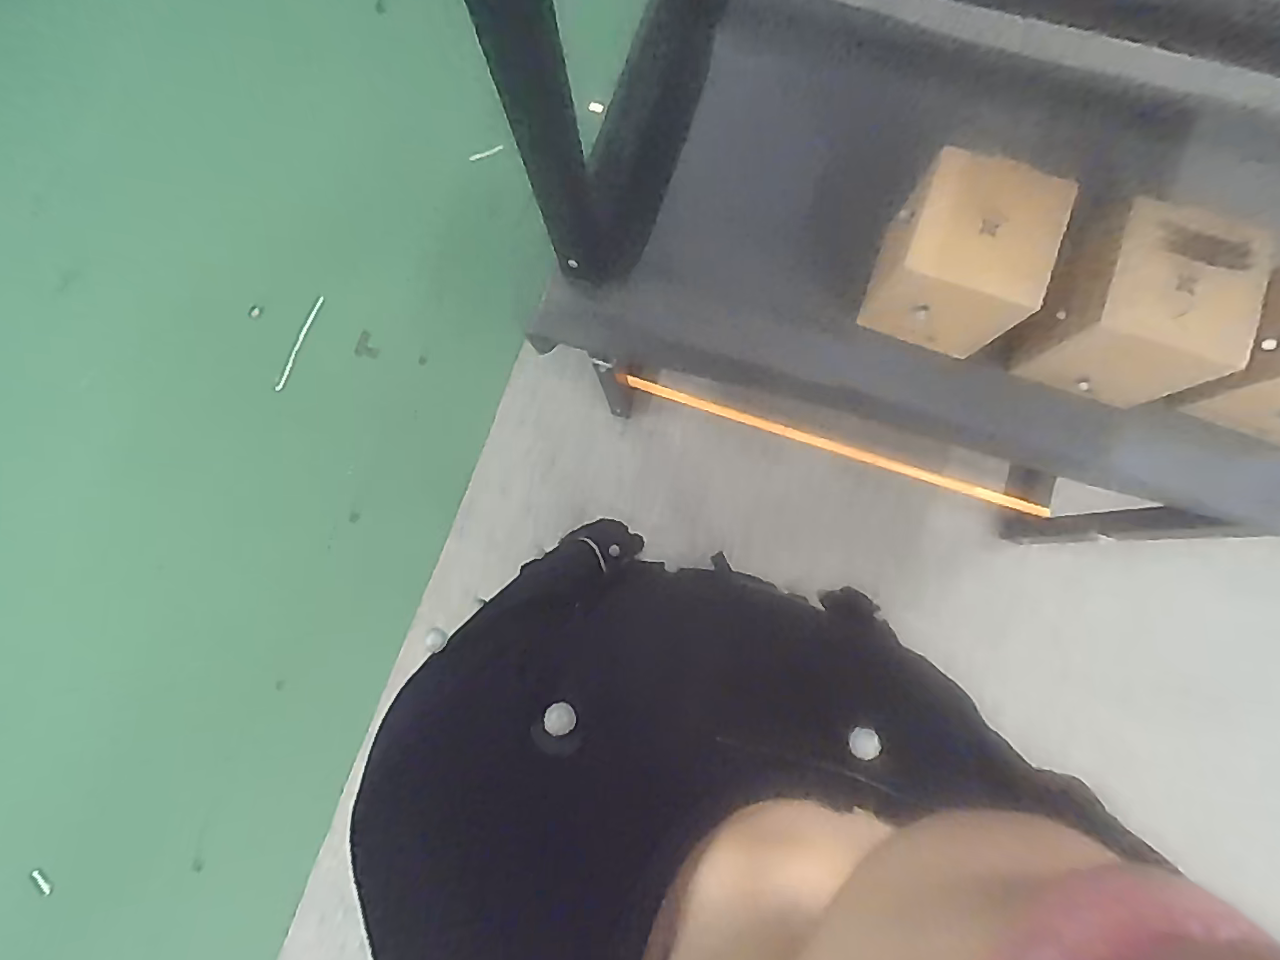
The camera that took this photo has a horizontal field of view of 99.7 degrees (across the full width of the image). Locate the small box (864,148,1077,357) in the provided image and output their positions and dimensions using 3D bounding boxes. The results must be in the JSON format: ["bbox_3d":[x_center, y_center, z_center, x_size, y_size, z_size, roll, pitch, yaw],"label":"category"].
[{"bbox_3d":[0.424,-0.290,0.727,0.168,0.176,0.179,21,82,6],"label":"small box"}]

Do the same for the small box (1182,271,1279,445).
[{"bbox_3d":[0.854,-0.157,0.681,0.168,0.176,0.179,22,82,6],"label":"small box"}]
